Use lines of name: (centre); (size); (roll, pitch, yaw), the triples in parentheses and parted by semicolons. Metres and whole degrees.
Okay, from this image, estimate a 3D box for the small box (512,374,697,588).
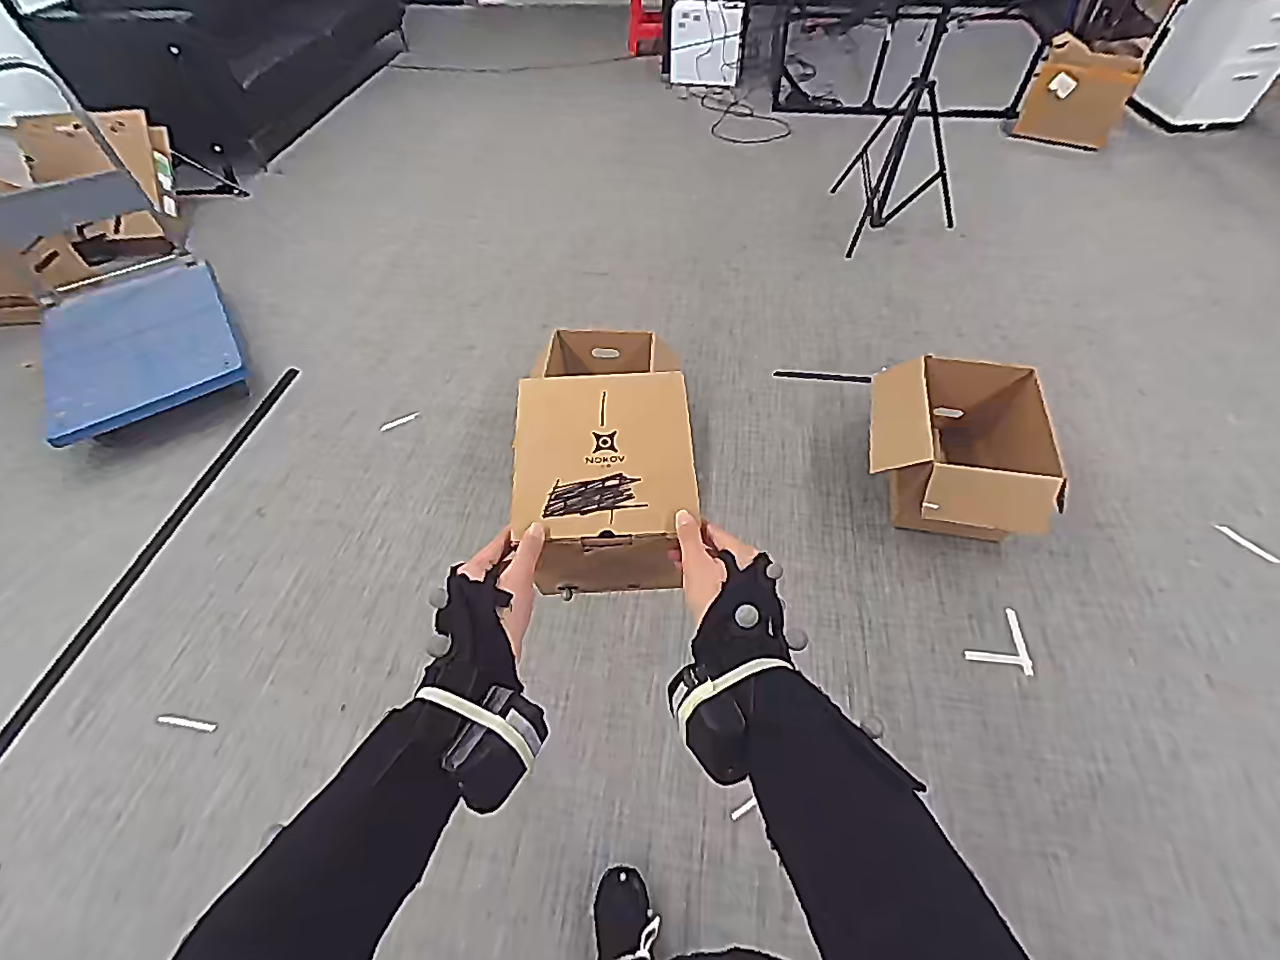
small box: (-0.033, 0.011, 0.576); (0.168, 0.176, 0.179); (-3, 62, -2)
